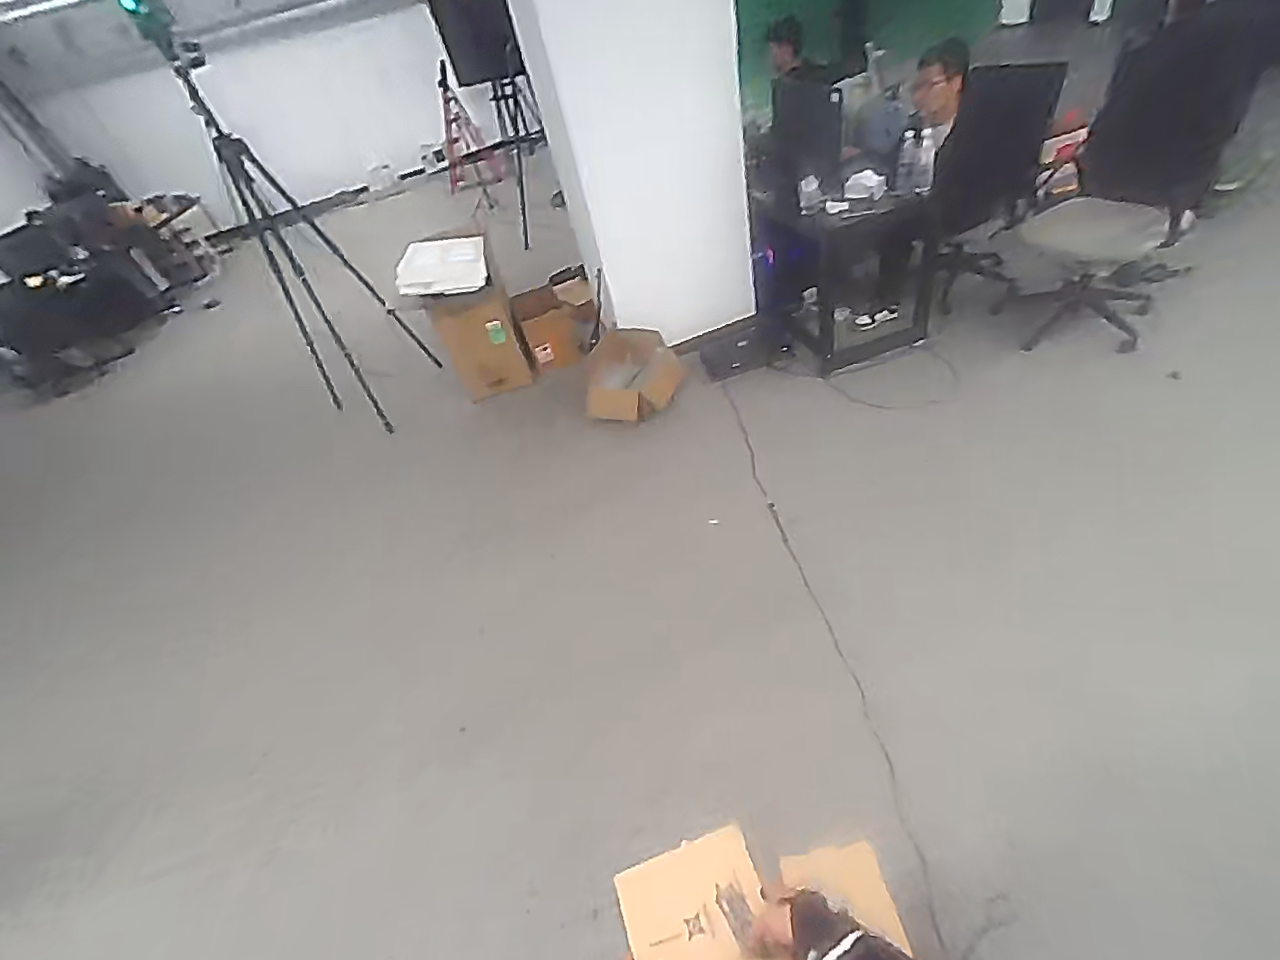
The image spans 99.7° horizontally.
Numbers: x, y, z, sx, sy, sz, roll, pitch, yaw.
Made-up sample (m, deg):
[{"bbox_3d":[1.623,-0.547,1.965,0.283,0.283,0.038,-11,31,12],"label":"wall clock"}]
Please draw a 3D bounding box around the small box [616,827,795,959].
[{"bbox_3d":[0.084,0.588,0.697,0.179,0.176,0.168,-19,43,-8],"label":"small box"}]

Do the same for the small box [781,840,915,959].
[{"bbox_3d":[0.352,0.764,0.940,0.168,0.176,0.179,-14,41,4],"label":"small box"}]
